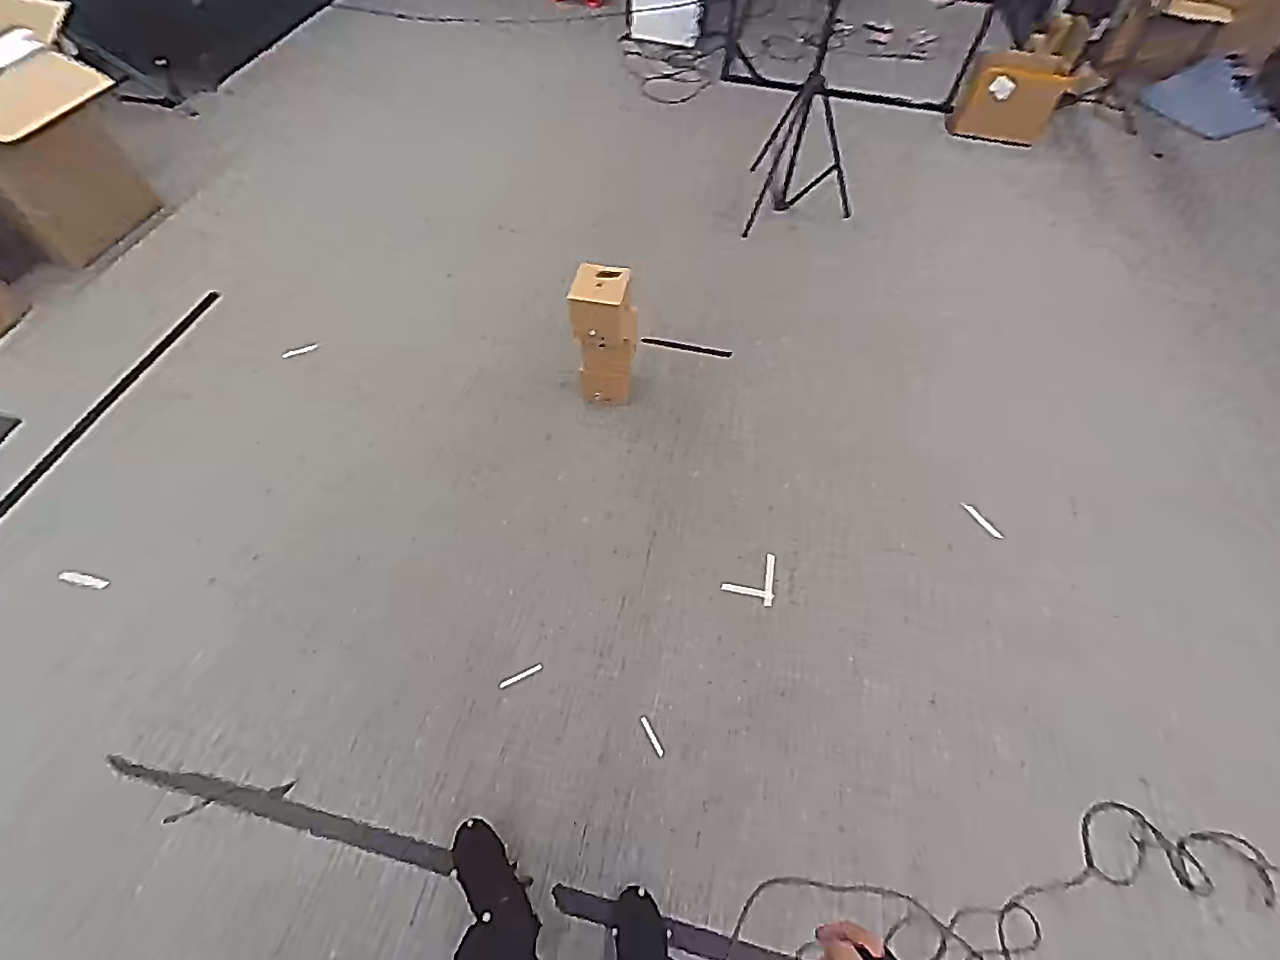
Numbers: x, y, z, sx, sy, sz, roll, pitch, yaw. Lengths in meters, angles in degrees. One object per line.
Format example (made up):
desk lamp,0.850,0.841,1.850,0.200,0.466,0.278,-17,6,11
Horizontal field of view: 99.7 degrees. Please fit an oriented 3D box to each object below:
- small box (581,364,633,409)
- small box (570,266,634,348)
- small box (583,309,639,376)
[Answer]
small box,-0.119,-0.395,2.024,0.168,0.176,0.179,8,58,4
small box,-0.118,-0.553,1.736,0.168,0.176,0.179,10,59,6
small box,-0.101,-0.483,1.886,0.179,0.176,0.168,7,58,3
